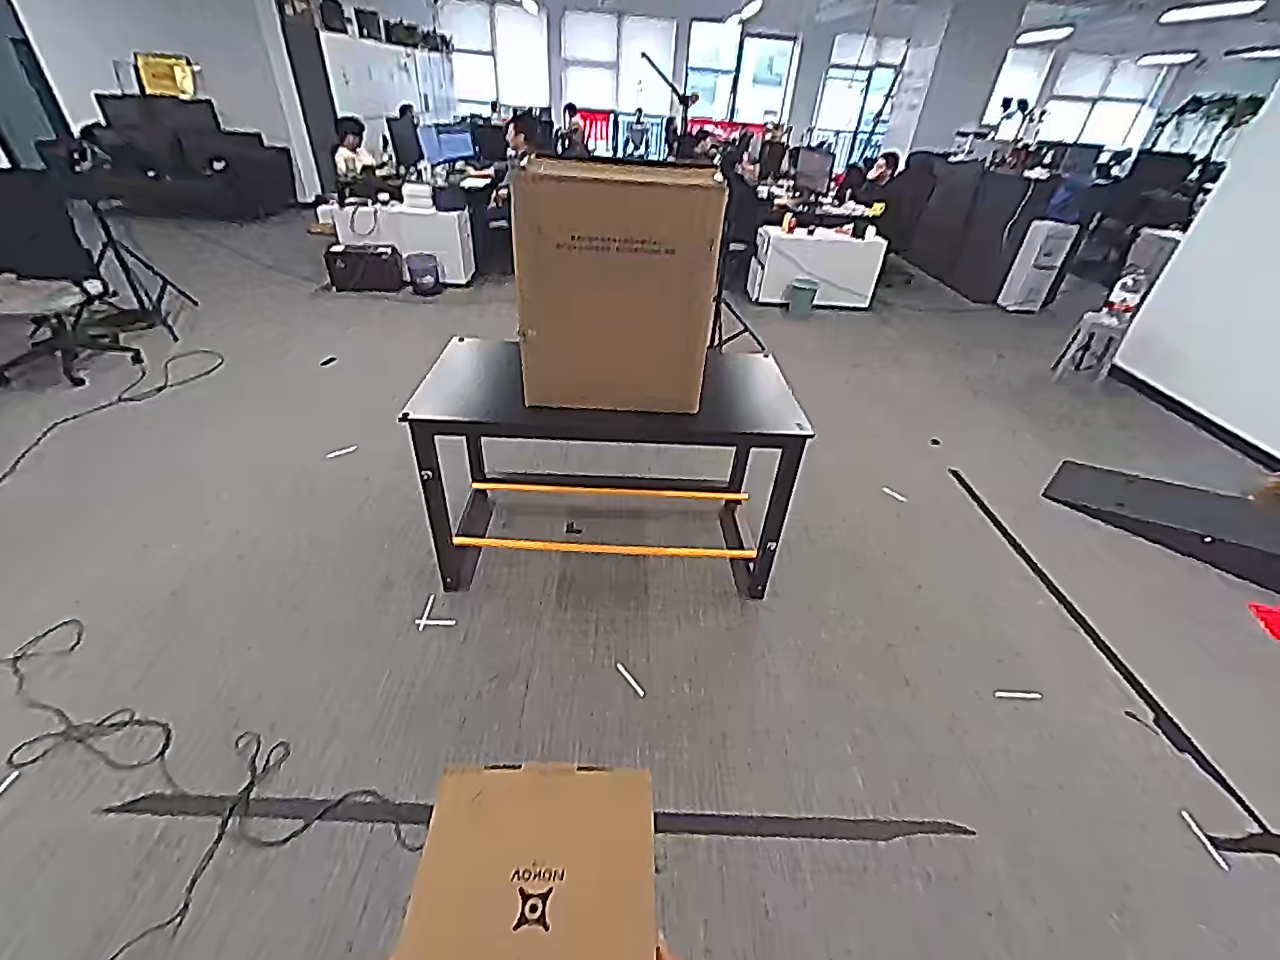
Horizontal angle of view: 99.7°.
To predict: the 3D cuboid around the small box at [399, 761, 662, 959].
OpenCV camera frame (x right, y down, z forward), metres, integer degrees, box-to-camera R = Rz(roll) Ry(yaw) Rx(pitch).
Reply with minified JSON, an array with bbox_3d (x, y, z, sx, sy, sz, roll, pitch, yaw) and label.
[{"bbox_3d":[-0.072,0.342,0.413,0.168,0.176,0.179,1,39,-2],"label":"small box"}]
